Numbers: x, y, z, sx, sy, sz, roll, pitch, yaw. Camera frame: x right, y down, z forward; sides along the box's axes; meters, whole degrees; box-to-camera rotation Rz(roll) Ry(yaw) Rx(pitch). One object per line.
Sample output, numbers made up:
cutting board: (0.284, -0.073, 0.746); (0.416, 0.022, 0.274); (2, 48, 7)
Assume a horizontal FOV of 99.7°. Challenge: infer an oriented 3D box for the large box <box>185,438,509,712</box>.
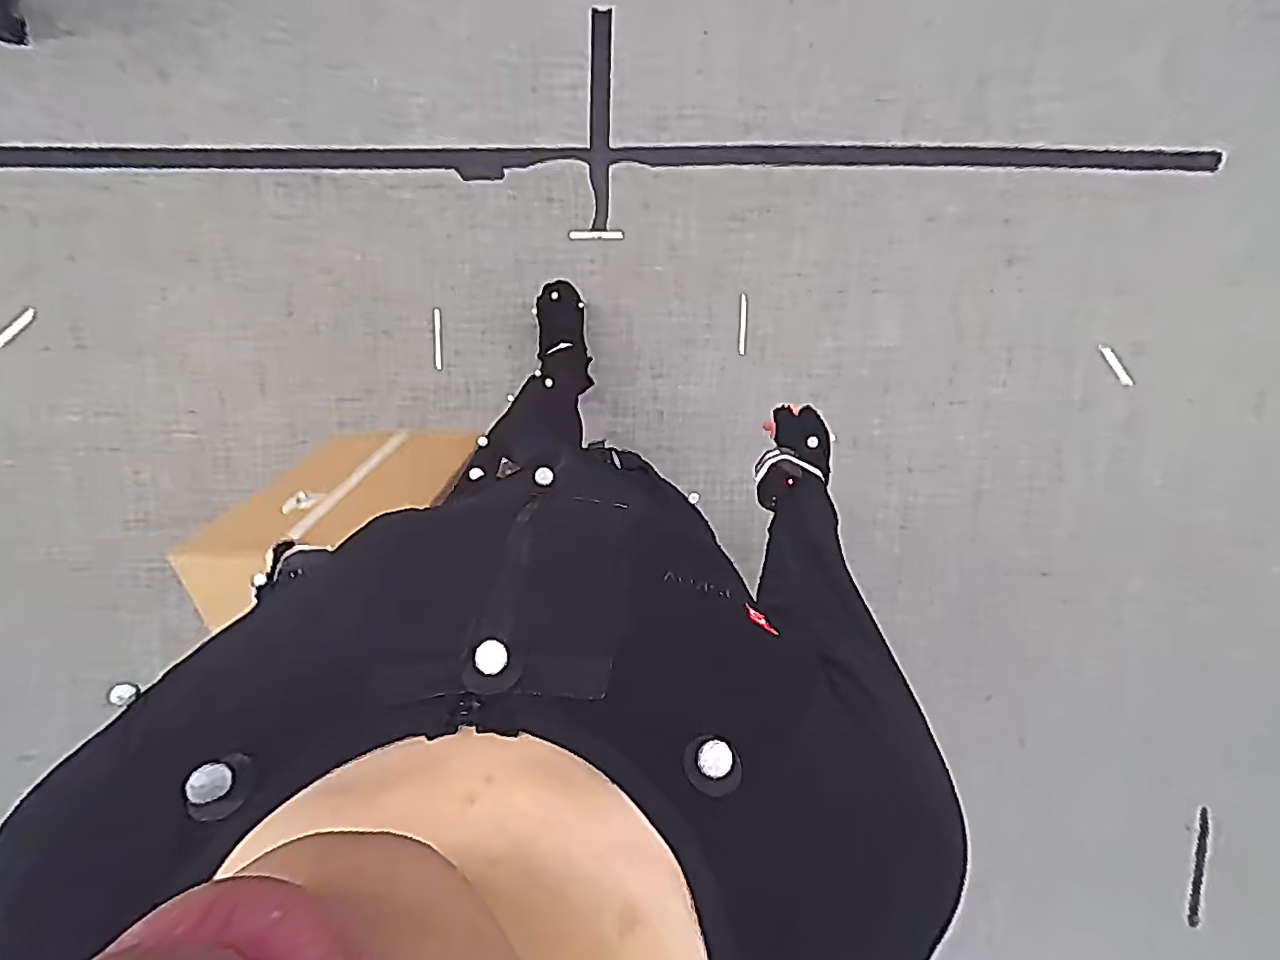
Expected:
large box: (-0.457, 0.146, 0.973); (0.320, 0.408, 0.320); (-2, 118, 6)
